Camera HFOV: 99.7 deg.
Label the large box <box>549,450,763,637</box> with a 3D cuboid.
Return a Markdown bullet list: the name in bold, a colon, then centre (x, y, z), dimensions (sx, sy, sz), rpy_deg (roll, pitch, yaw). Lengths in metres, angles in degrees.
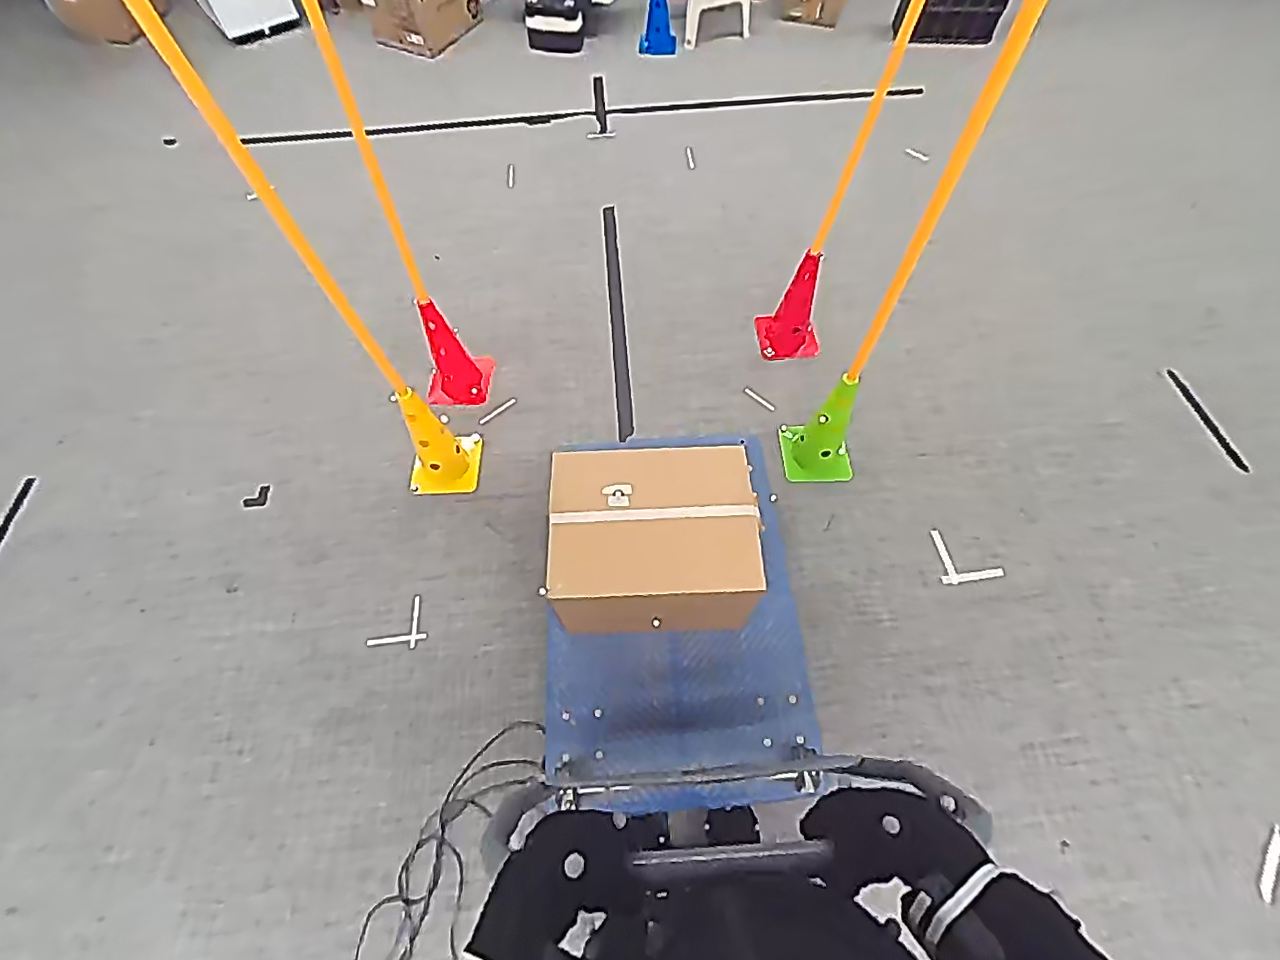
- **large box**: centre (0.029, 0.153, 1.194), dimensions (0.408, 0.320, 0.320), rpy_deg (-3, 61, 1)

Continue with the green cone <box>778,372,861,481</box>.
- **green cone**: centre (0.536, -0.169, 1.524), dimensions (0.202, 0.368, 0.200), rpy_deg (-2, 61, -1)

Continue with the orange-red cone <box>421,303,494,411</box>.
- **orange-red cone**: centre (-0.607, -0.405, 1.690), dimensions (0.198, 0.360, 0.199), rpy_deg (2, 60, 1)

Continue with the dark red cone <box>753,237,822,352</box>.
- **dark red cone**: centre (0.509, -0.601, 1.744), dimensions (0.201, 0.394, 0.202), rpy_deg (-5, 61, -3)
